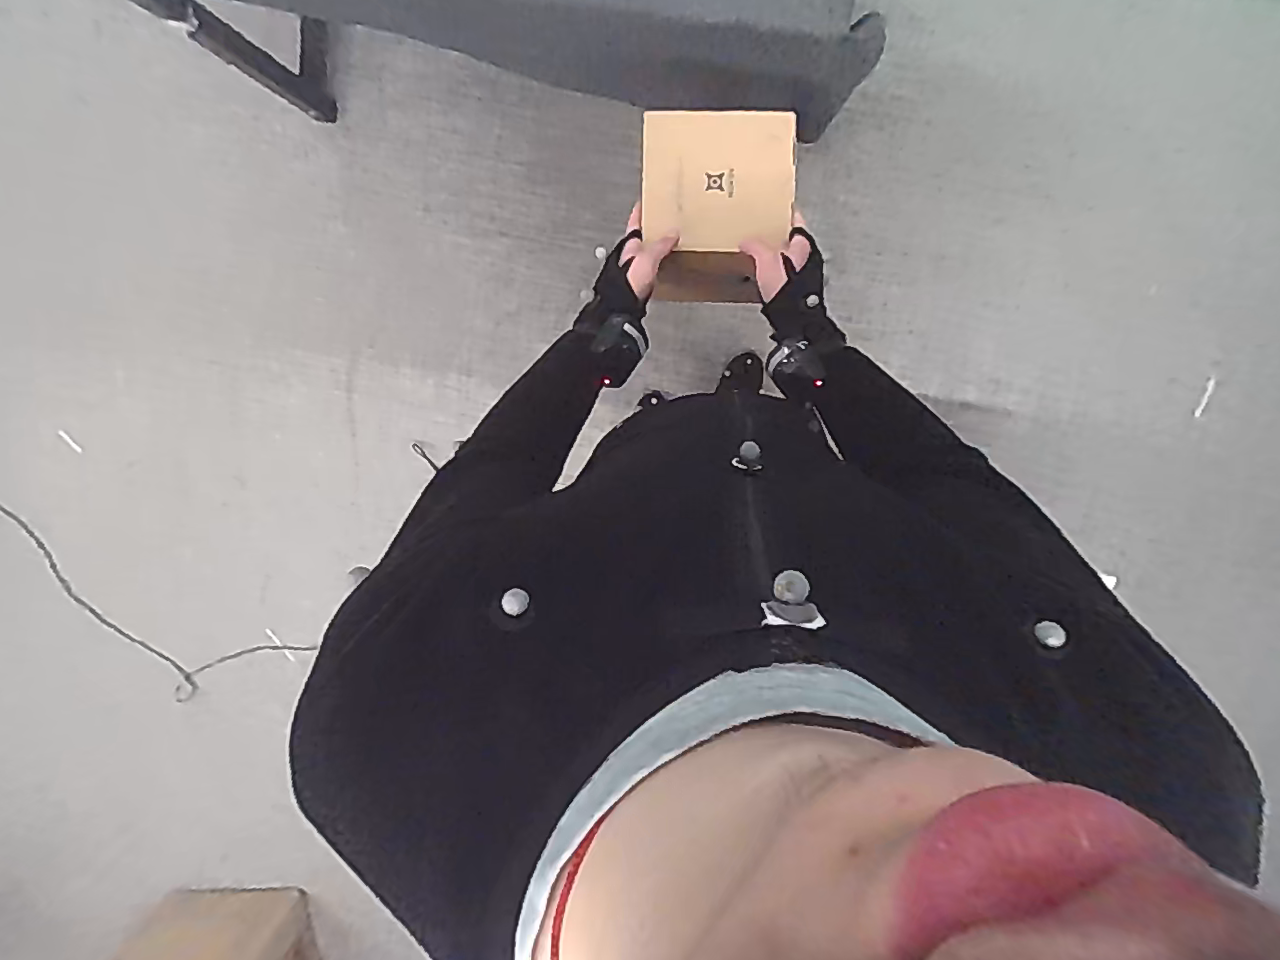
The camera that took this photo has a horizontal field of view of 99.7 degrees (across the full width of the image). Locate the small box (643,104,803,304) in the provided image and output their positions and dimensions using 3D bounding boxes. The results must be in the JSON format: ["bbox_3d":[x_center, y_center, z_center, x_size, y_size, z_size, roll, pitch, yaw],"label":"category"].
[{"bbox_3d":[0.093,-0.330,0.677,0.179,0.176,0.168,-1,87,1],"label":"small box"}]
